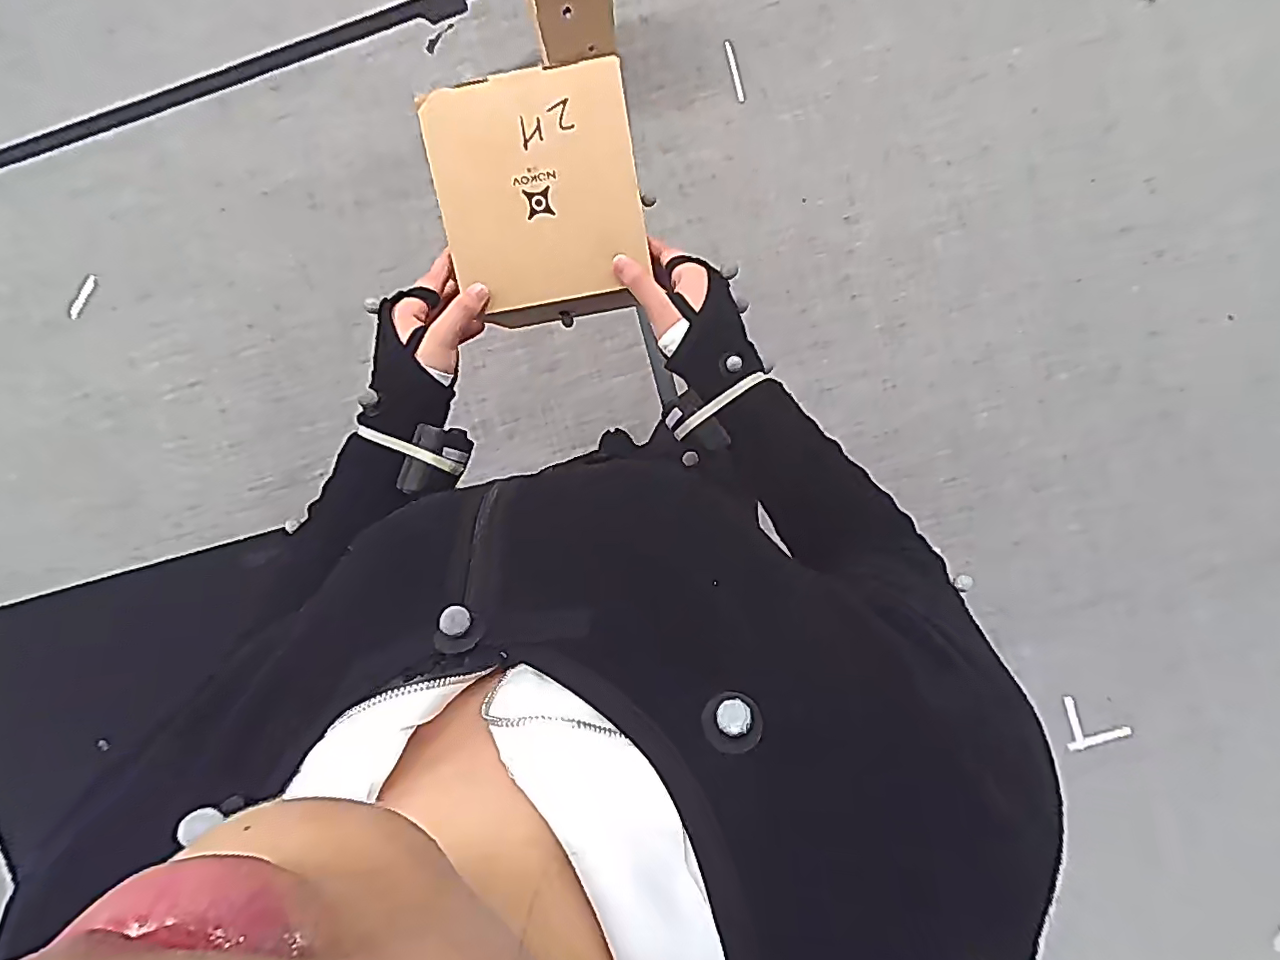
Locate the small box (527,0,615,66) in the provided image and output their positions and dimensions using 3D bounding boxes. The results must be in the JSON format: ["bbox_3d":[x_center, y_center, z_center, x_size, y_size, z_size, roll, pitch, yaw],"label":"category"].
[{"bbox_3d":[-0.159,-1.050,1.180,0.168,0.176,0.179,-18,92,3],"label":"small box"}]

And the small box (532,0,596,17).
[{"bbox_3d":[-0.159,-1.041,1.015,0.168,0.176,0.179,-18,94,3],"label":"small box"}]

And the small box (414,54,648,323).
[{"bbox_3d":[-0.085,-0.253,0.521,0.168,0.176,0.179,-10,101,2],"label":"small box"}]
